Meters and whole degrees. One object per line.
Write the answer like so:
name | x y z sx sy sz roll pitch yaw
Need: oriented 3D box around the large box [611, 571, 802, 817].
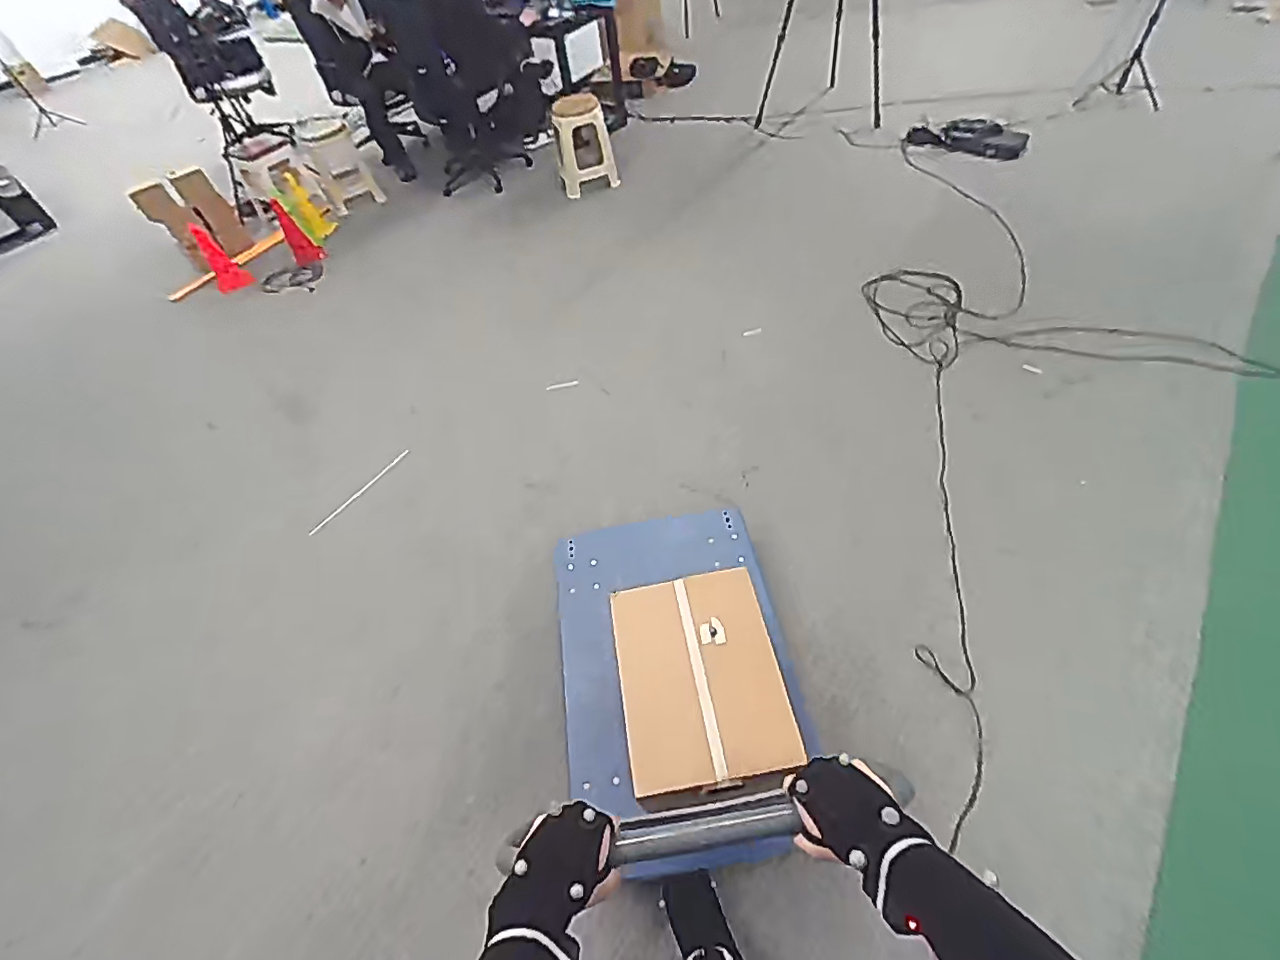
large box | 0.133 0.476 1.210 0.320 0.320 0.408 -11 50 0
